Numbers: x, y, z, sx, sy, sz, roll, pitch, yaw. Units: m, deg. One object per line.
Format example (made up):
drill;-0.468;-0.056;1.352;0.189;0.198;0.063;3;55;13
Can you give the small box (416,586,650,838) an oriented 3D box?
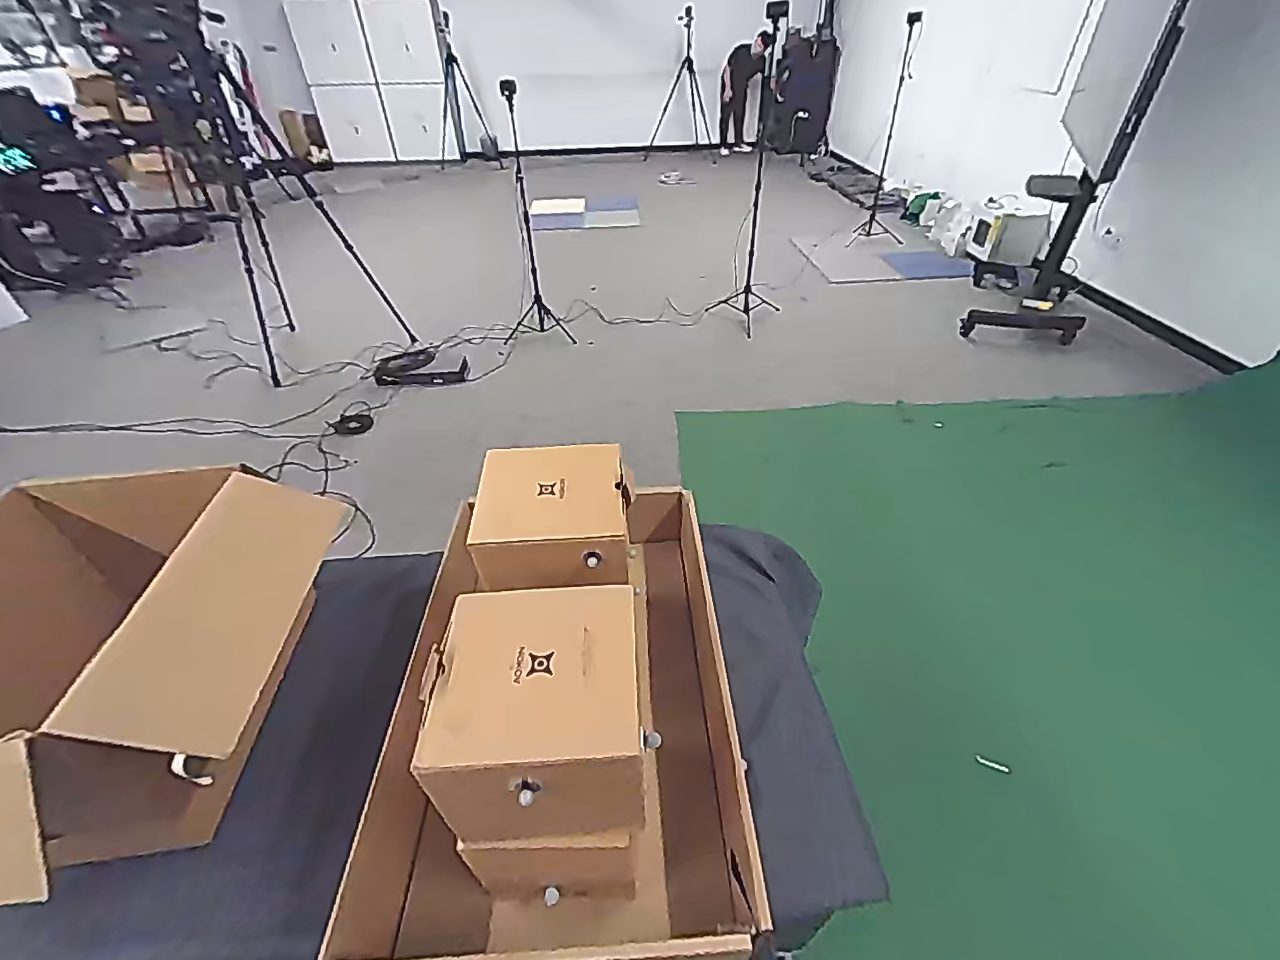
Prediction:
small box;-0.084;0.223;0.521;0.179;0.176;0.168;-3;40;-1

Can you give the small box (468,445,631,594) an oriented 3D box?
small box;-0.103;0.074;0.700;0.179;0.176;0.168;-3;42;-2
